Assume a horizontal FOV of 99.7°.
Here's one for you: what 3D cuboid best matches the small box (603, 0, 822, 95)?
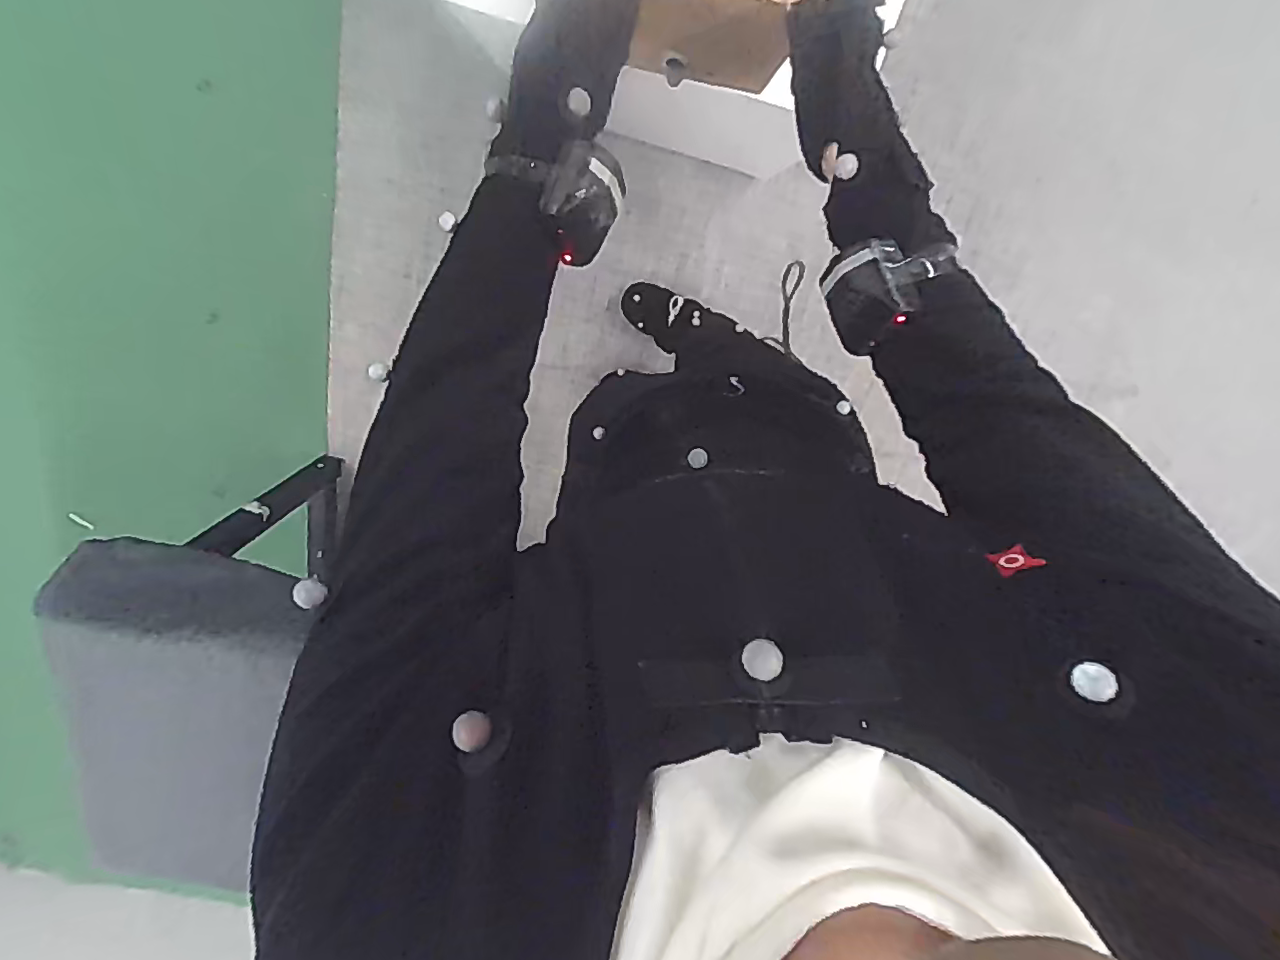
[{"bbox_3d":[0.060,-0.455,0.438,0.168,0.176,0.179,8,108,-5],"label":"small box"}]
